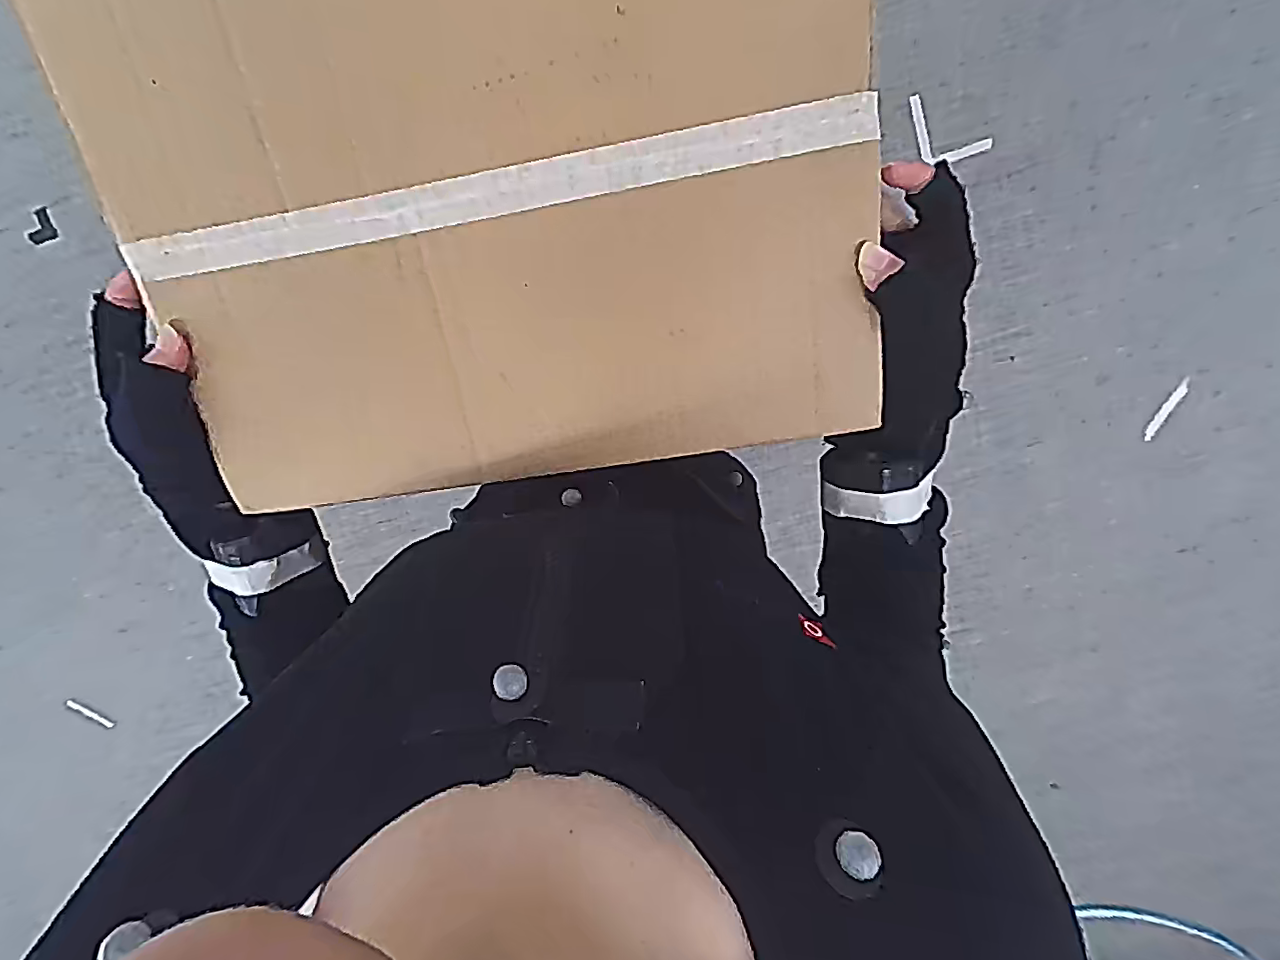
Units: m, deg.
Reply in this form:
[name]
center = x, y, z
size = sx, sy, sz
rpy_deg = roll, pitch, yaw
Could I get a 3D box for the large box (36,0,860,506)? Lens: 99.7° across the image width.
[large box]
center = -0.079, -0.204, 0.433
size = 0.408, 0.320, 0.320
rpy_deg = -8, 109, 6
